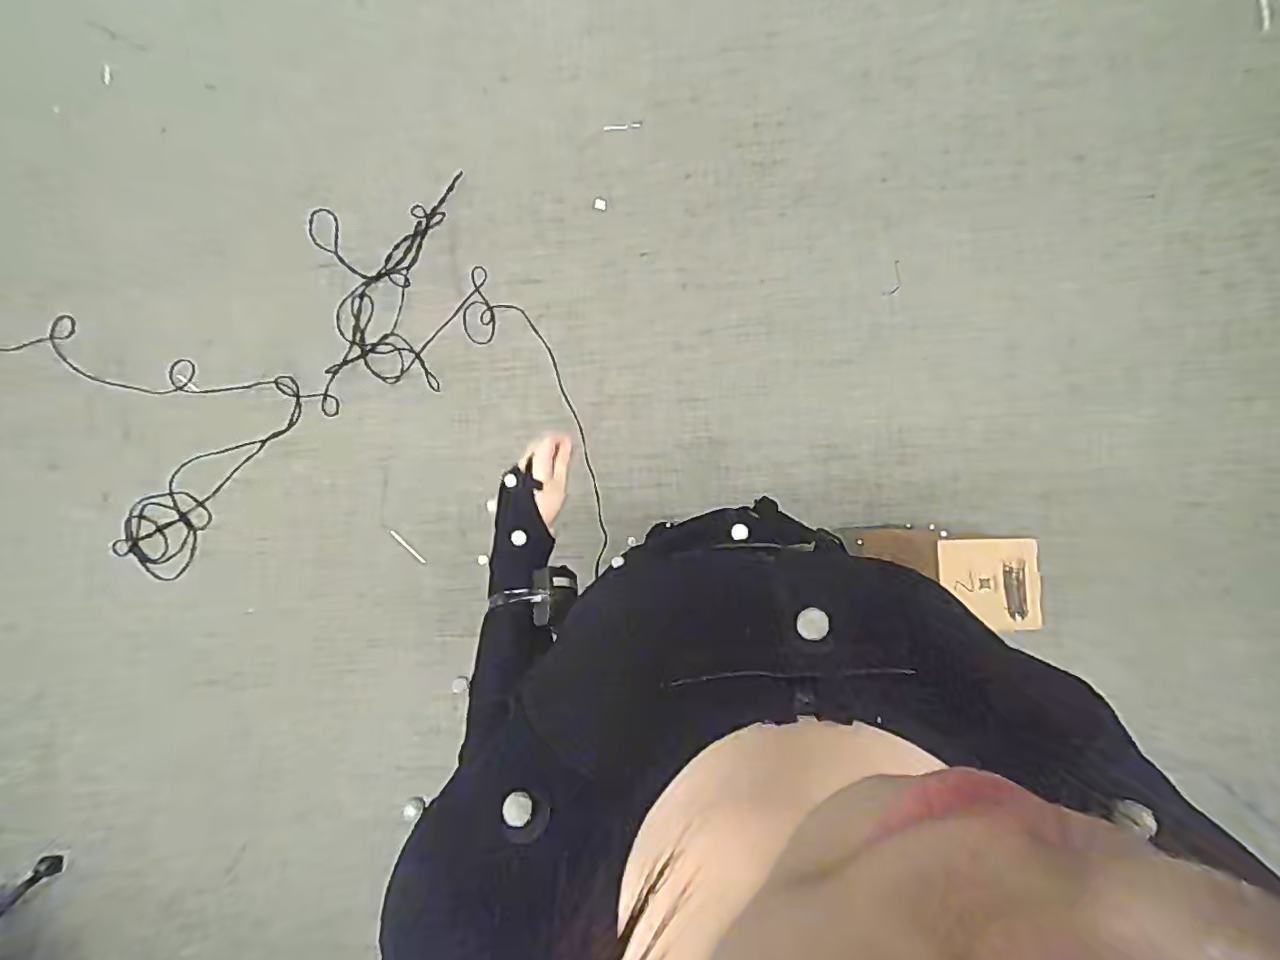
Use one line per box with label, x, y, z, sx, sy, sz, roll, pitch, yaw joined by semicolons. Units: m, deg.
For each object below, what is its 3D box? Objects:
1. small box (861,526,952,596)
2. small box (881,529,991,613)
small box;0.677;0.205;1.382;0.179;0.176;0.168;-2;87;4
small box;0.657;0.199;1.219;0.168;0.176;0.179;-2;87;5
